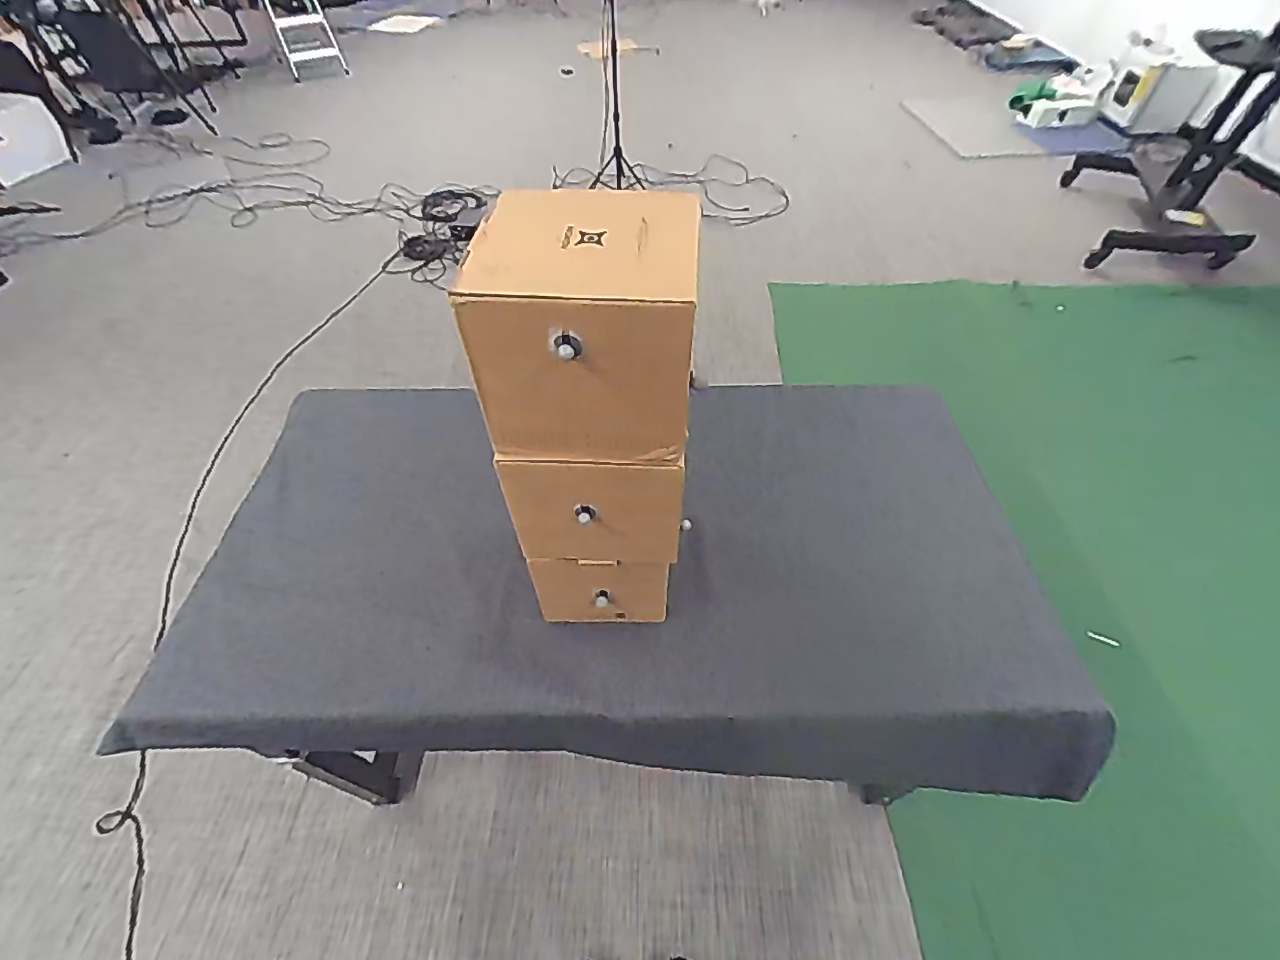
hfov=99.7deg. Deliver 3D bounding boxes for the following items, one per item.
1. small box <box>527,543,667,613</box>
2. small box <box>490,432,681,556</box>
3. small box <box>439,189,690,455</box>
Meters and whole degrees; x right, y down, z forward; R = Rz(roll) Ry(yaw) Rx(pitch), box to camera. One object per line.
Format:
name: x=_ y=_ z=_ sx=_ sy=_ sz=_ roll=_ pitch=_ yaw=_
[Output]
small box: x=-0.047 y=0.070 z=0.734 sx=0.168 sy=0.176 sz=0.179 roll=-2 pitch=51 yaw=1
small box: x=-0.045 y=-0.027 z=0.602 sx=0.179 sy=0.176 sz=0.168 roll=0 pitch=50 yaw=4
small box: x=-0.047 y=-0.136 z=0.481 sx=0.179 sy=0.176 sz=0.168 roll=2 pitch=52 yaw=3
